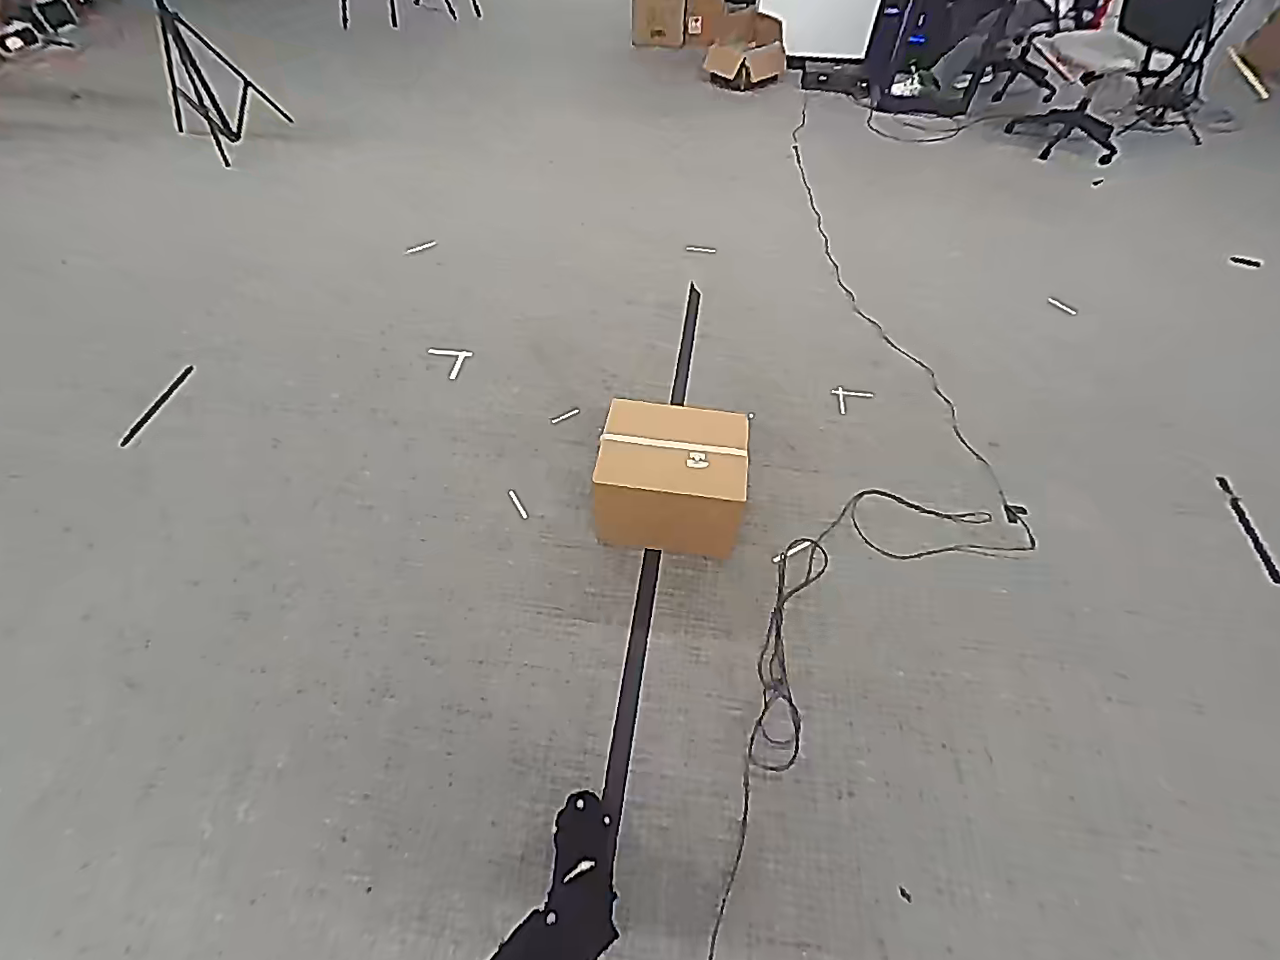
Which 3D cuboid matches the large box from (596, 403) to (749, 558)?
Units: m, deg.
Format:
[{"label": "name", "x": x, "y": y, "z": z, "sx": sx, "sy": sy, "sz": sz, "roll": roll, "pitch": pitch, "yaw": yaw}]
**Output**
[{"label": "large box", "x": 0.094, "y": 0.005, "z": 1.610, "sx": 0.408, "sy": 0.320, "sz": 0.320, "roll": 8, "pitch": 54, "yaw": 4}]
